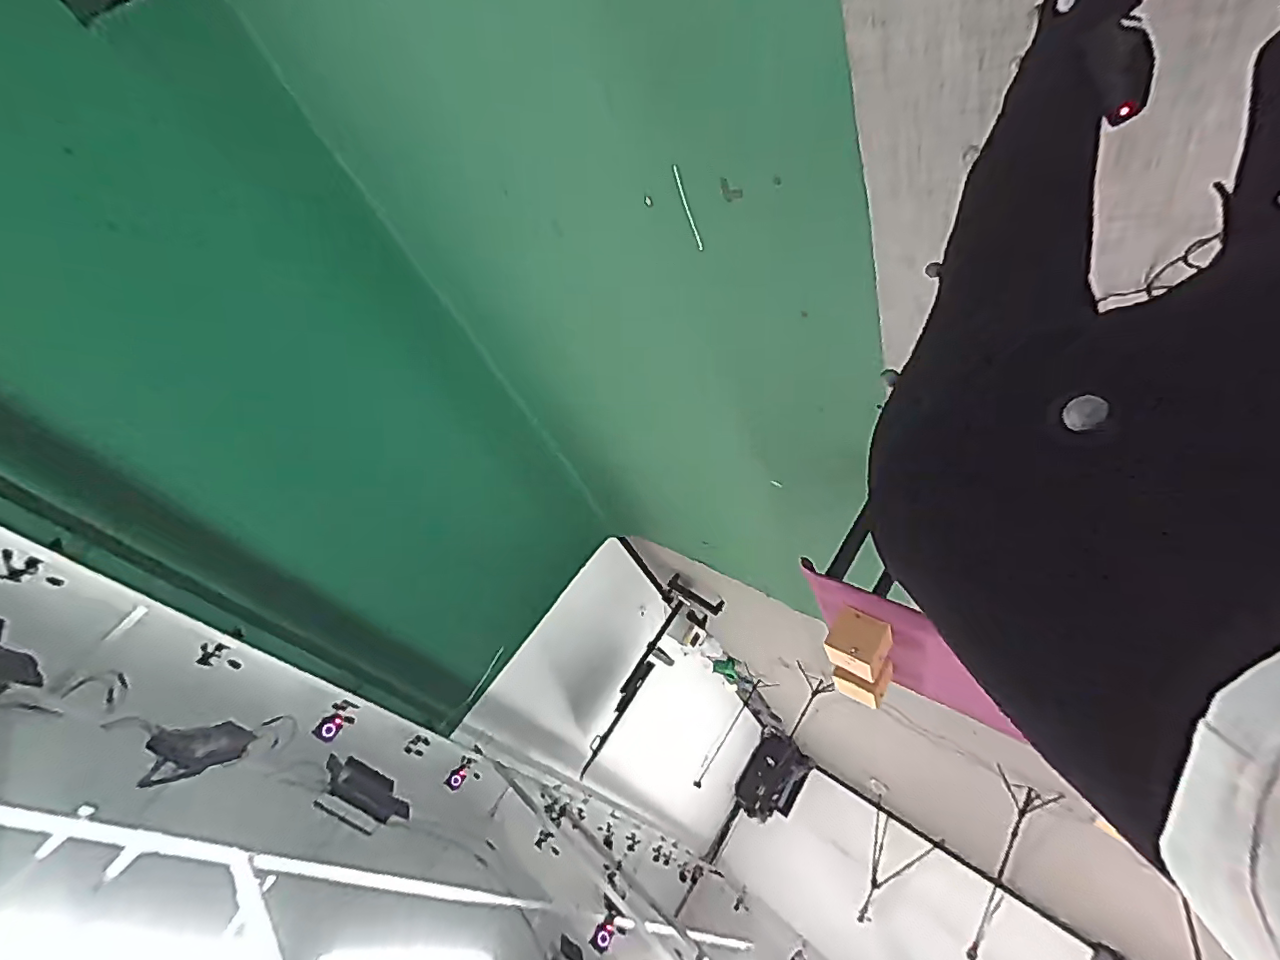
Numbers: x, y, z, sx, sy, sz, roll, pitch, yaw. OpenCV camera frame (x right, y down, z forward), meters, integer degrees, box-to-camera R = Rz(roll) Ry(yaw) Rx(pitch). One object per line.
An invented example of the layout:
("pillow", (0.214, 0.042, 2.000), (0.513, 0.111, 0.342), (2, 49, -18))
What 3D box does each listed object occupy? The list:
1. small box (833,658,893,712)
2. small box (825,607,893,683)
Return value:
("small box", (0.883, 0.773, 2.129), (0.168, 0.176, 0.179), (18, 150, 38))
("small box", (0.776, 0.580, 1.905), (0.168, 0.176, 0.179), (19, 154, 38))
